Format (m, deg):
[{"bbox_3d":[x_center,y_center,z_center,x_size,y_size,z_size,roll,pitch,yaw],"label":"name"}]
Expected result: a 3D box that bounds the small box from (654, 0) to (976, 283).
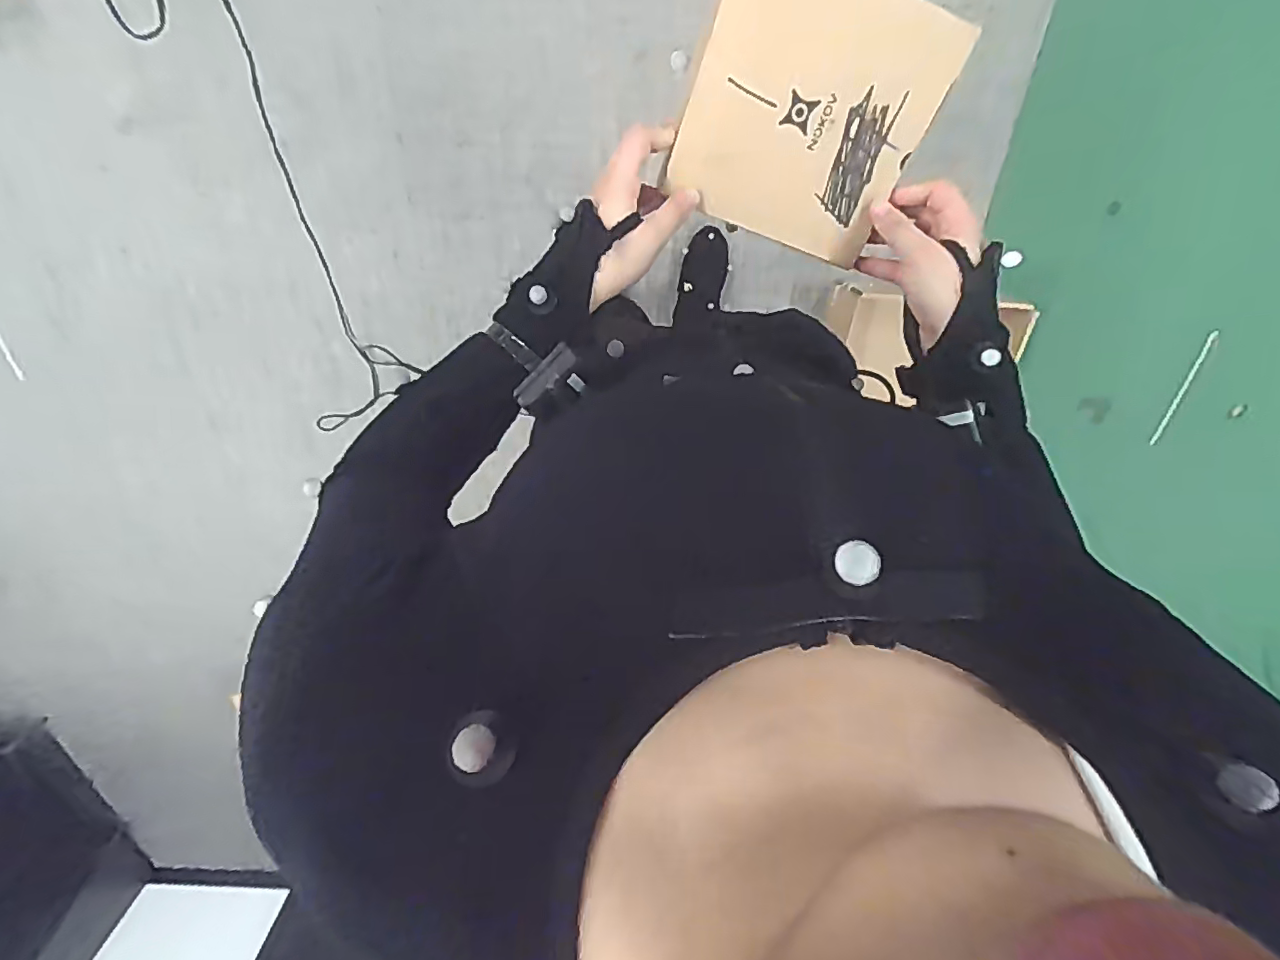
[{"bbox_3d":[0.120,-0.294,0.452,0.179,0.176,0.168,17,125,-10],"label":"small box"}]
